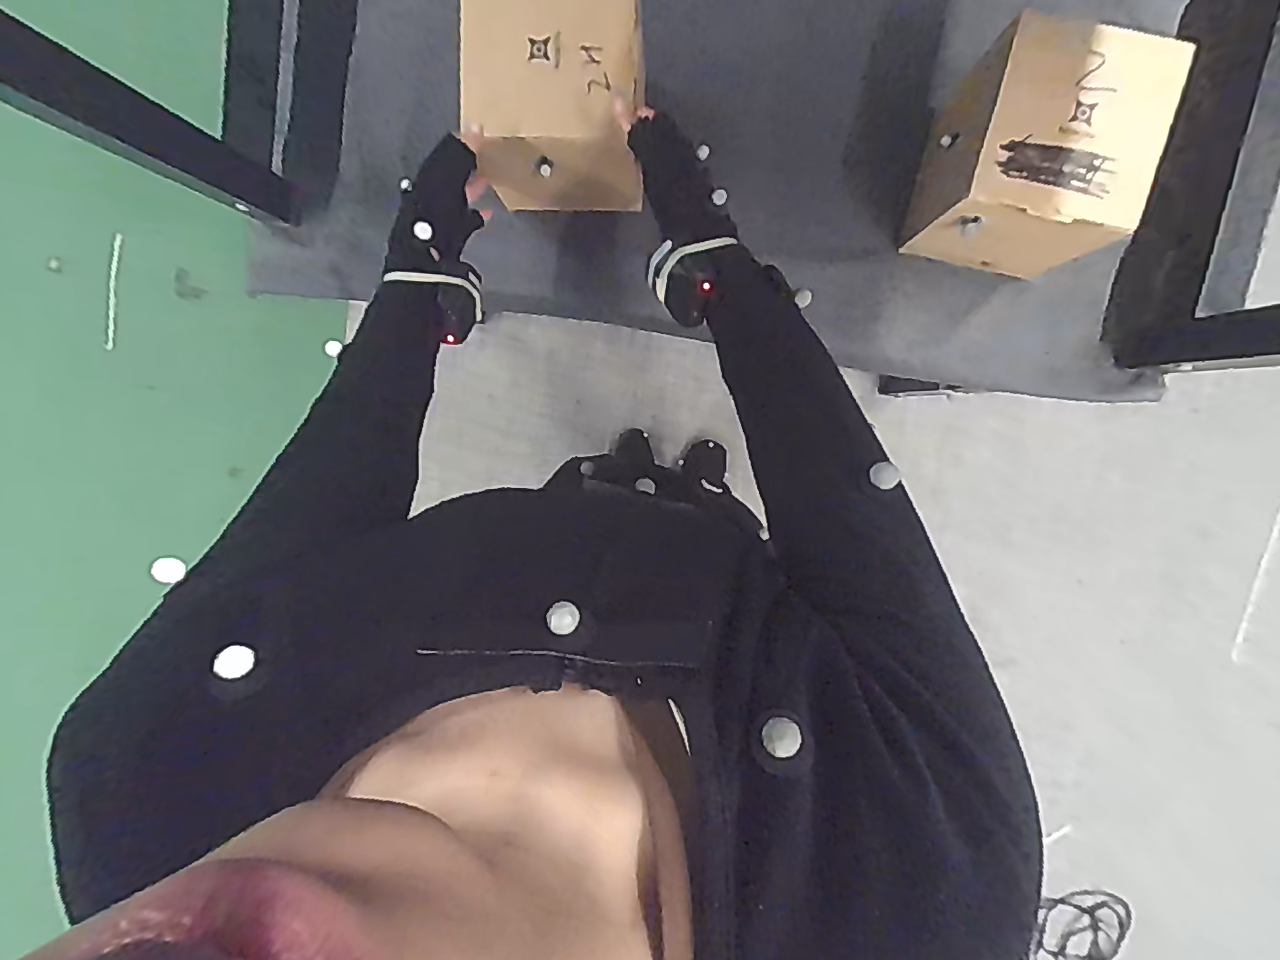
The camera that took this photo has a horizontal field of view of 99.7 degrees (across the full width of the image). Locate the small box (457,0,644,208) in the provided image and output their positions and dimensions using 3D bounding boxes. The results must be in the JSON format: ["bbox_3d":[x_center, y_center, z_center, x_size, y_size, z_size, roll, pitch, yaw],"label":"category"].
[{"bbox_3d":[-0.089,-0.424,0.608,0.179,0.176,0.168,2,95,2],"label":"small box"}]
